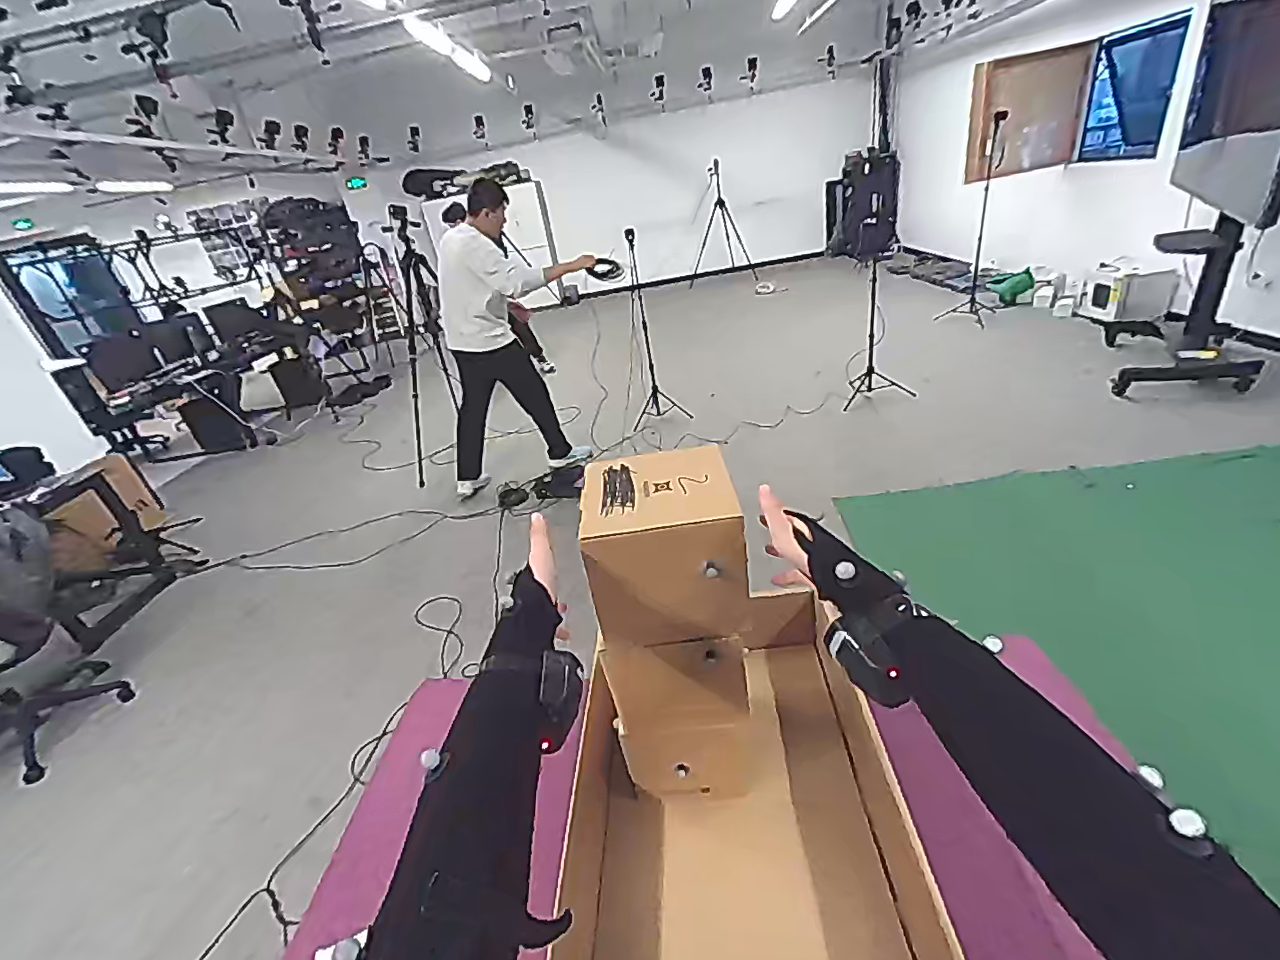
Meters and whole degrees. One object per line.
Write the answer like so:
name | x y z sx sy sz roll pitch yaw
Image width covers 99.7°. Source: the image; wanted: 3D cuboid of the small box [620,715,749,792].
small box | 0.071 0.354 0.828 0.168 0.176 0.179 -7 31 7

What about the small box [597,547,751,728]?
small box | 0.049 0.217 0.745 0.179 0.176 0.168 -8 30 5
